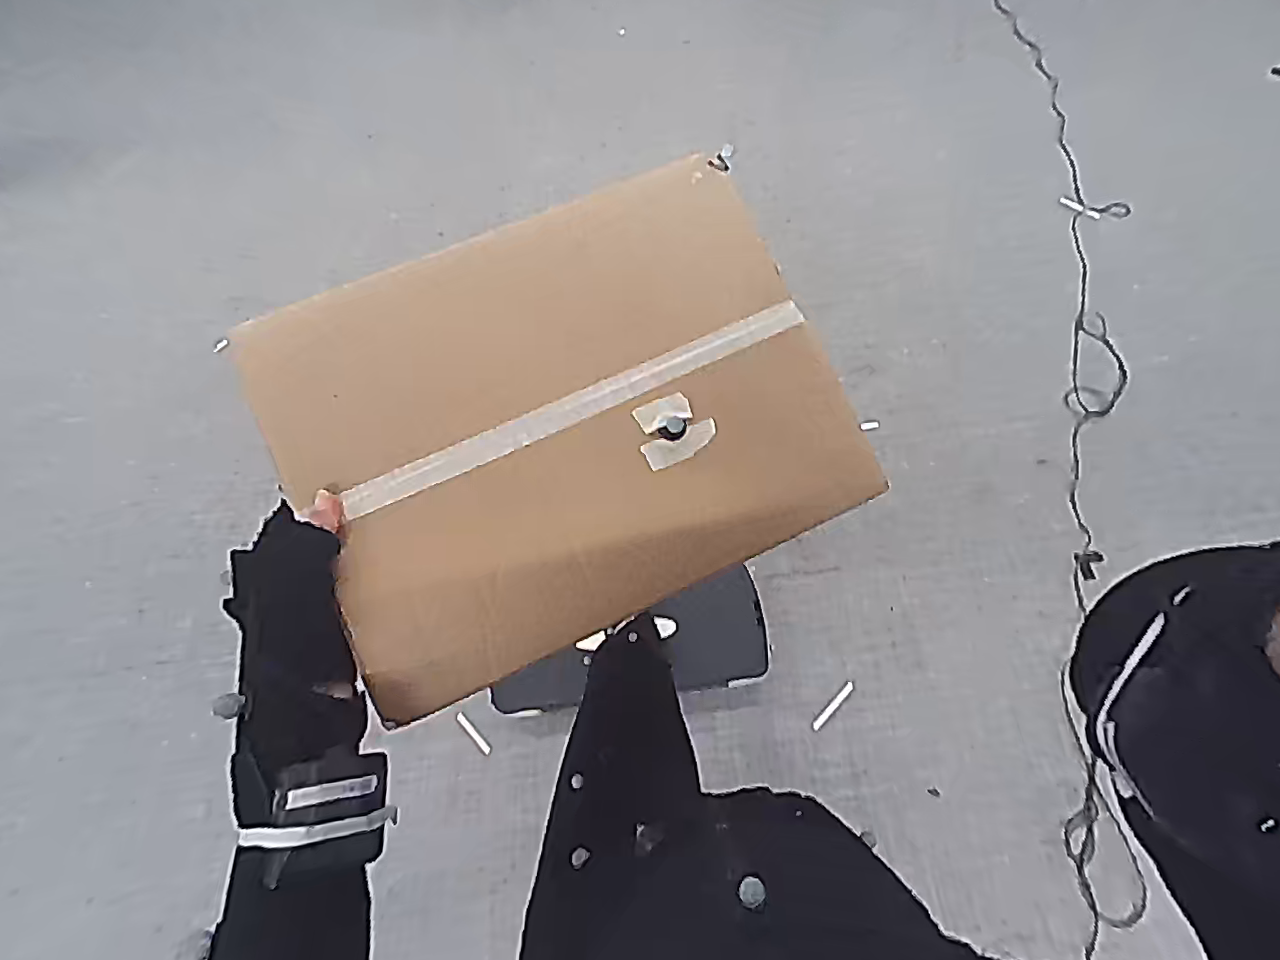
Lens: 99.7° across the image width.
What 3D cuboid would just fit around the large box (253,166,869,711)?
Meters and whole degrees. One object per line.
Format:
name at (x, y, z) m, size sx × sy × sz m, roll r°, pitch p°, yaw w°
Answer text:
large box at (-0.068, -0.029, 0.568) m, size 0.408 × 0.320 × 0.320 m, roll -24°, pitch 85°, yaw -8°
